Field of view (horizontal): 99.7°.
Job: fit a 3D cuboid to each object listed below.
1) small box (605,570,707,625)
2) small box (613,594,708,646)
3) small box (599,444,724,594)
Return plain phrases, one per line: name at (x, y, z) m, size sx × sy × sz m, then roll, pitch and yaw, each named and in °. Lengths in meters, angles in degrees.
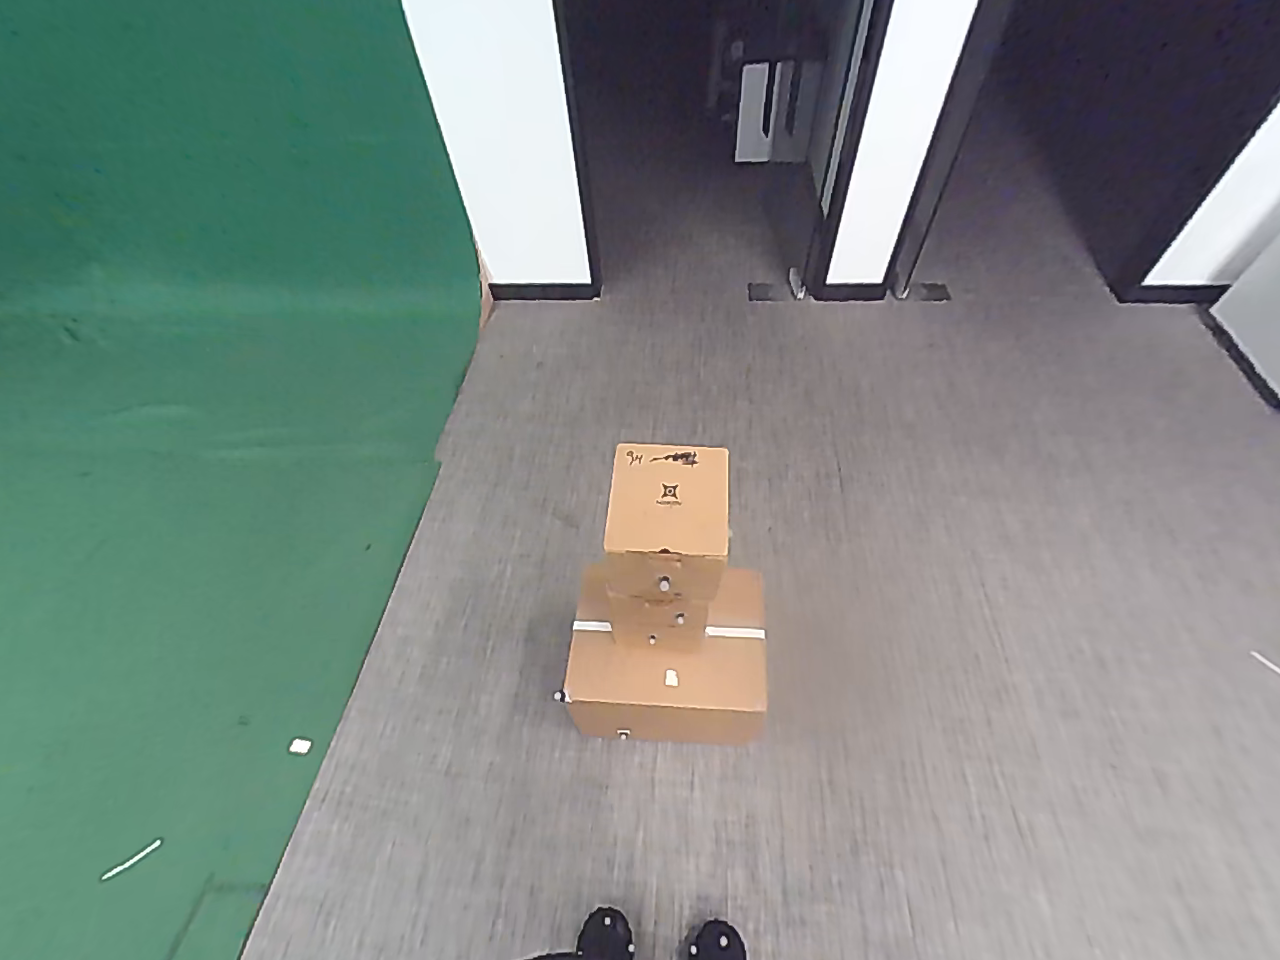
small box at (0.037, 0.150, 0.964) m, size 0.168 × 0.176 × 0.179 m, roll 2°, pitch 58°, yaw 4°
small box at (0.045, 0.234, 1.101) m, size 0.179 × 0.176 × 0.168 m, roll 2°, pitch 60°, yaw 5°
small box at (0.039, 0.065, 0.824) m, size 0.168 × 0.176 × 0.179 m, roll 3°, pitch 60°, yaw 5°
